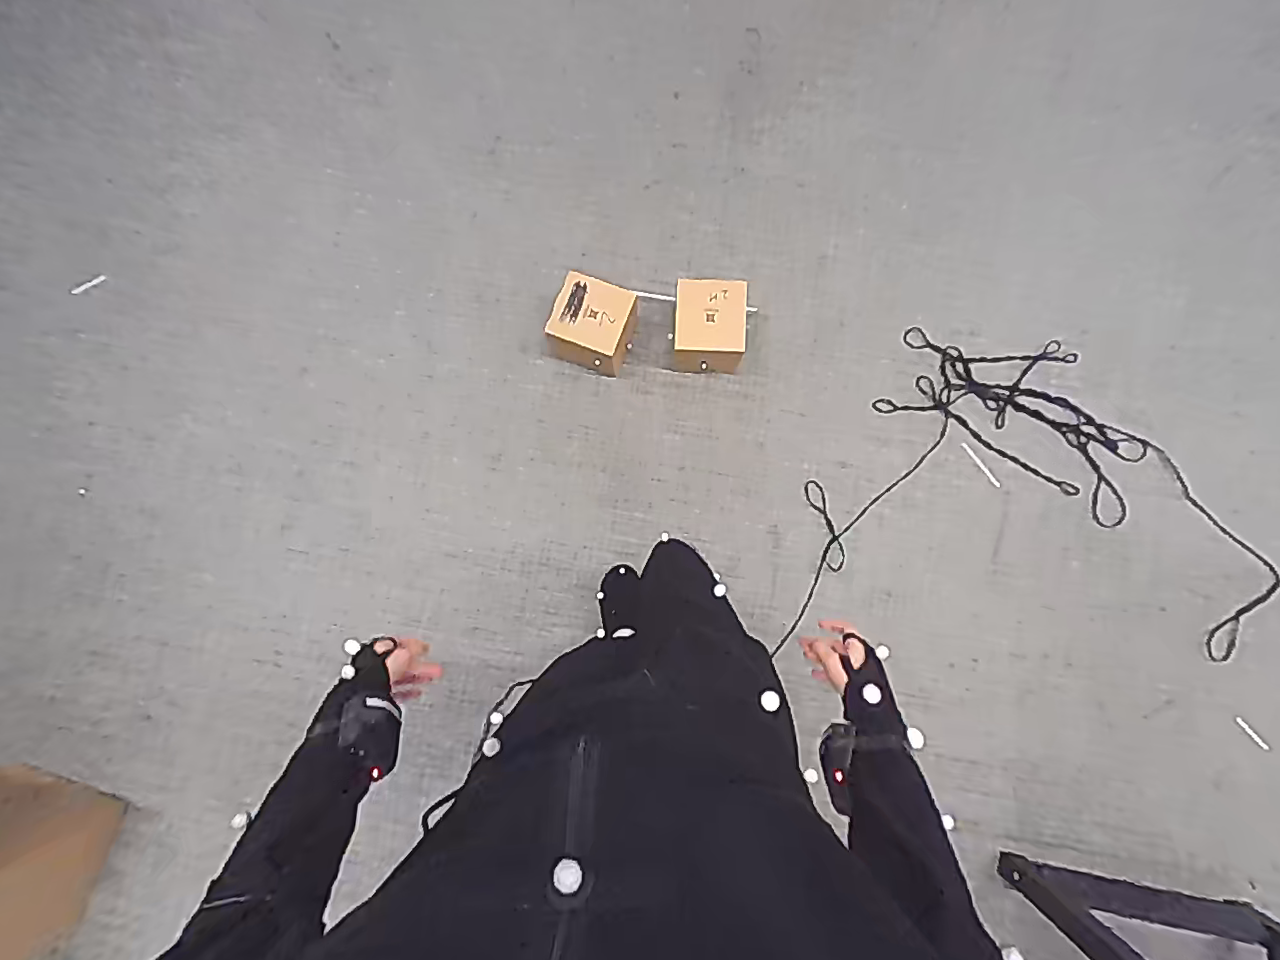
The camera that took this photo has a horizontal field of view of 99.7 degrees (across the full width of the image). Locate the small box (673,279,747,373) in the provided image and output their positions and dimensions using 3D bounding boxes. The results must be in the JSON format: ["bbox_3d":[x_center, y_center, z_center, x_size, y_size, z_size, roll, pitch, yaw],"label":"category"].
[{"bbox_3d":[0.168,-0.374,1.338,0.168,0.176,0.179,3,83,2],"label":"small box"}]
